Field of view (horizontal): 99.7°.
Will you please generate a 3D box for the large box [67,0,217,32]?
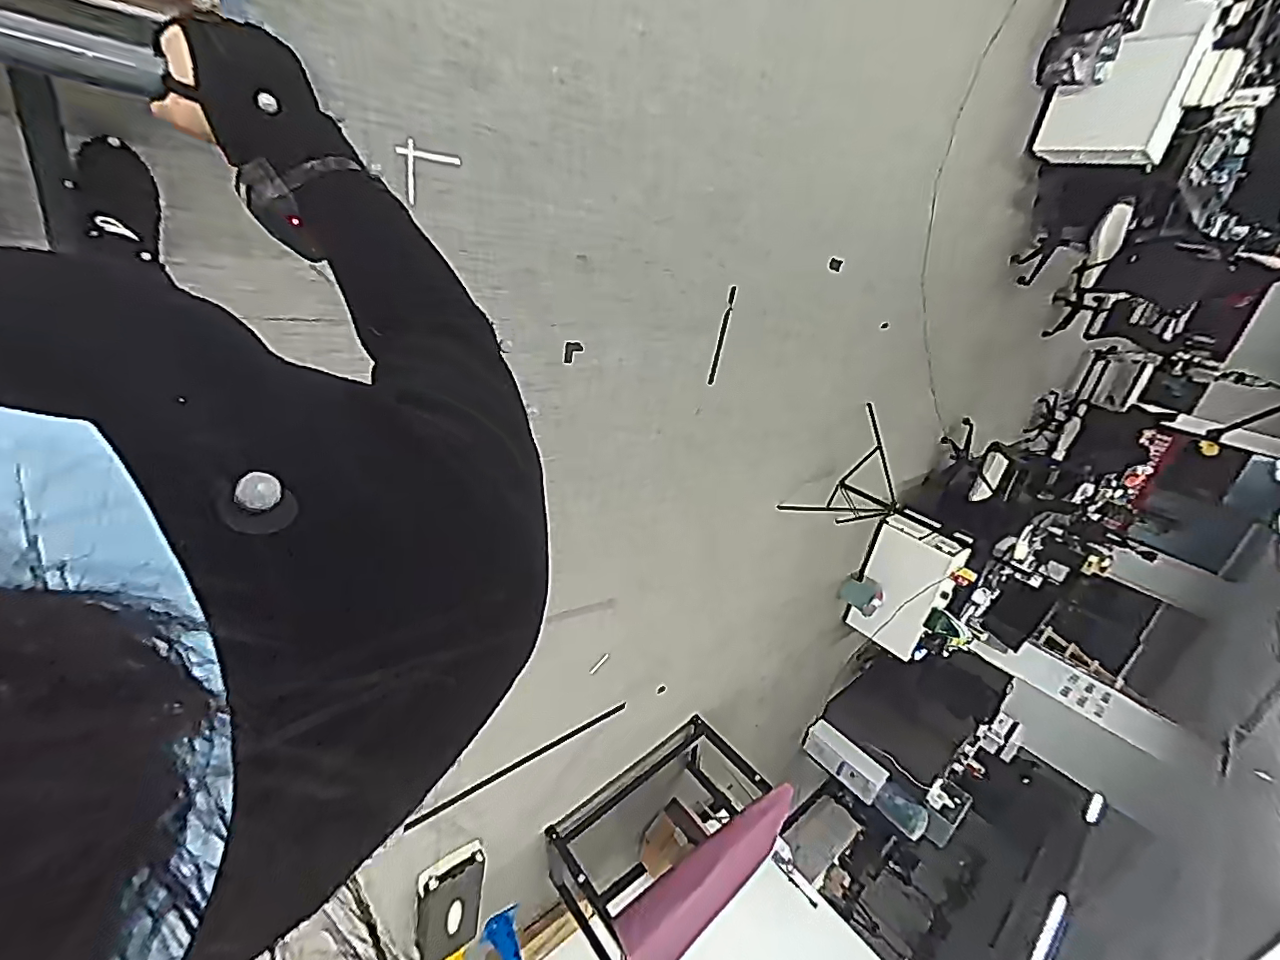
[{"bbox_3d":[-0.728,-0.729,0.553,0.408,0.320,0.320,-12,125,-41],"label":"large box"}]
